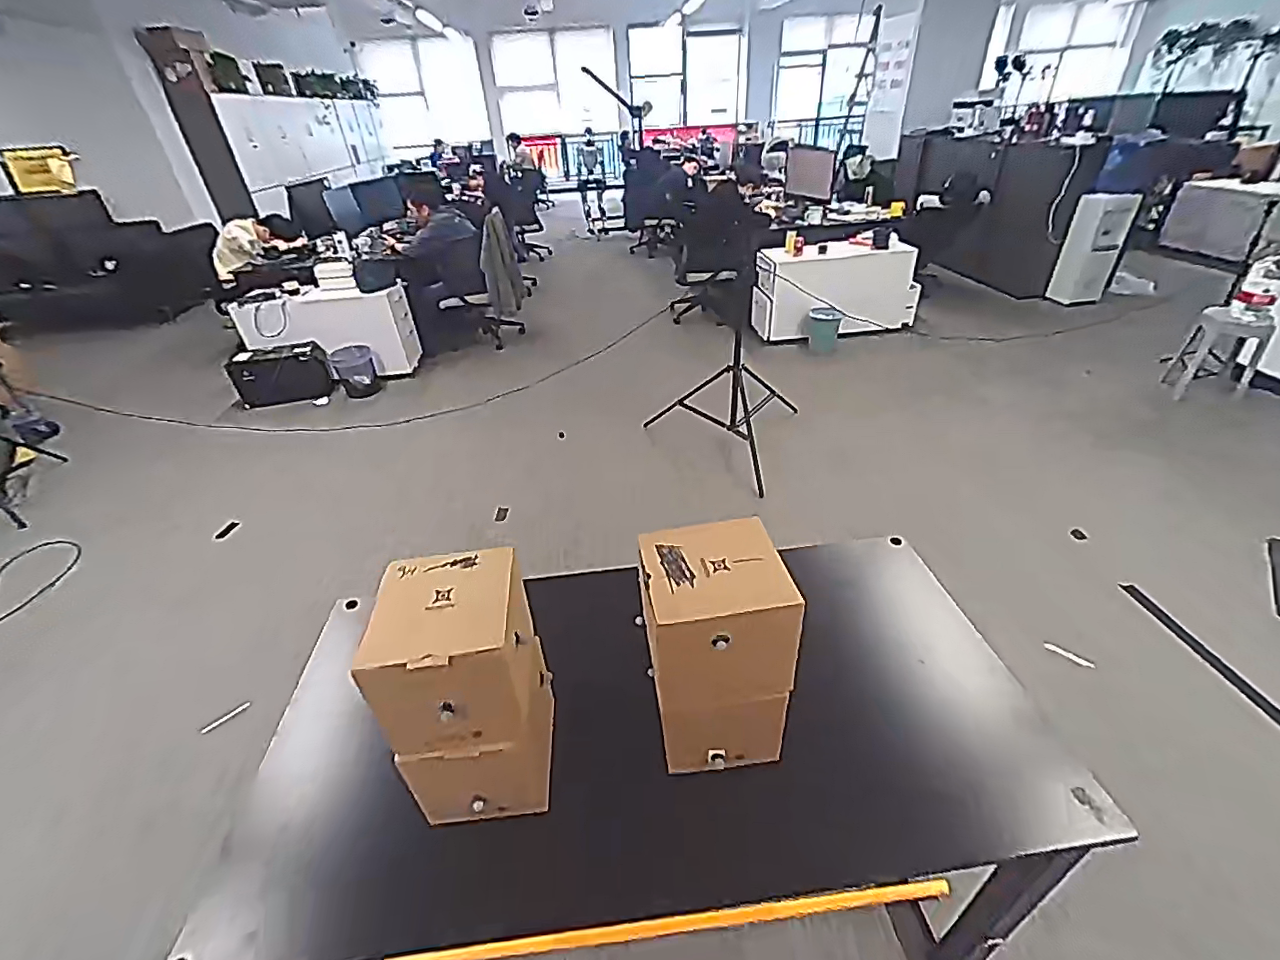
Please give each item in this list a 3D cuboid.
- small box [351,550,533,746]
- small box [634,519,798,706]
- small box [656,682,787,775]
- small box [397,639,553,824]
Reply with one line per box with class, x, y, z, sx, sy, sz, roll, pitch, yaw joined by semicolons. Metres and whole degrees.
small box;-0.235;0.219;0.697;0.168;0.176;0.179;-7;35;-4
small box;0.095;0.177;0.724;0.179;0.176;0.168;-8;34;-5
small box;0.110;0.310;0.820;0.168;0.176;0.179;-8;35;-3
small box;-0.221;0.359;0.782;0.168;0.176;0.179;-6;34;-2
